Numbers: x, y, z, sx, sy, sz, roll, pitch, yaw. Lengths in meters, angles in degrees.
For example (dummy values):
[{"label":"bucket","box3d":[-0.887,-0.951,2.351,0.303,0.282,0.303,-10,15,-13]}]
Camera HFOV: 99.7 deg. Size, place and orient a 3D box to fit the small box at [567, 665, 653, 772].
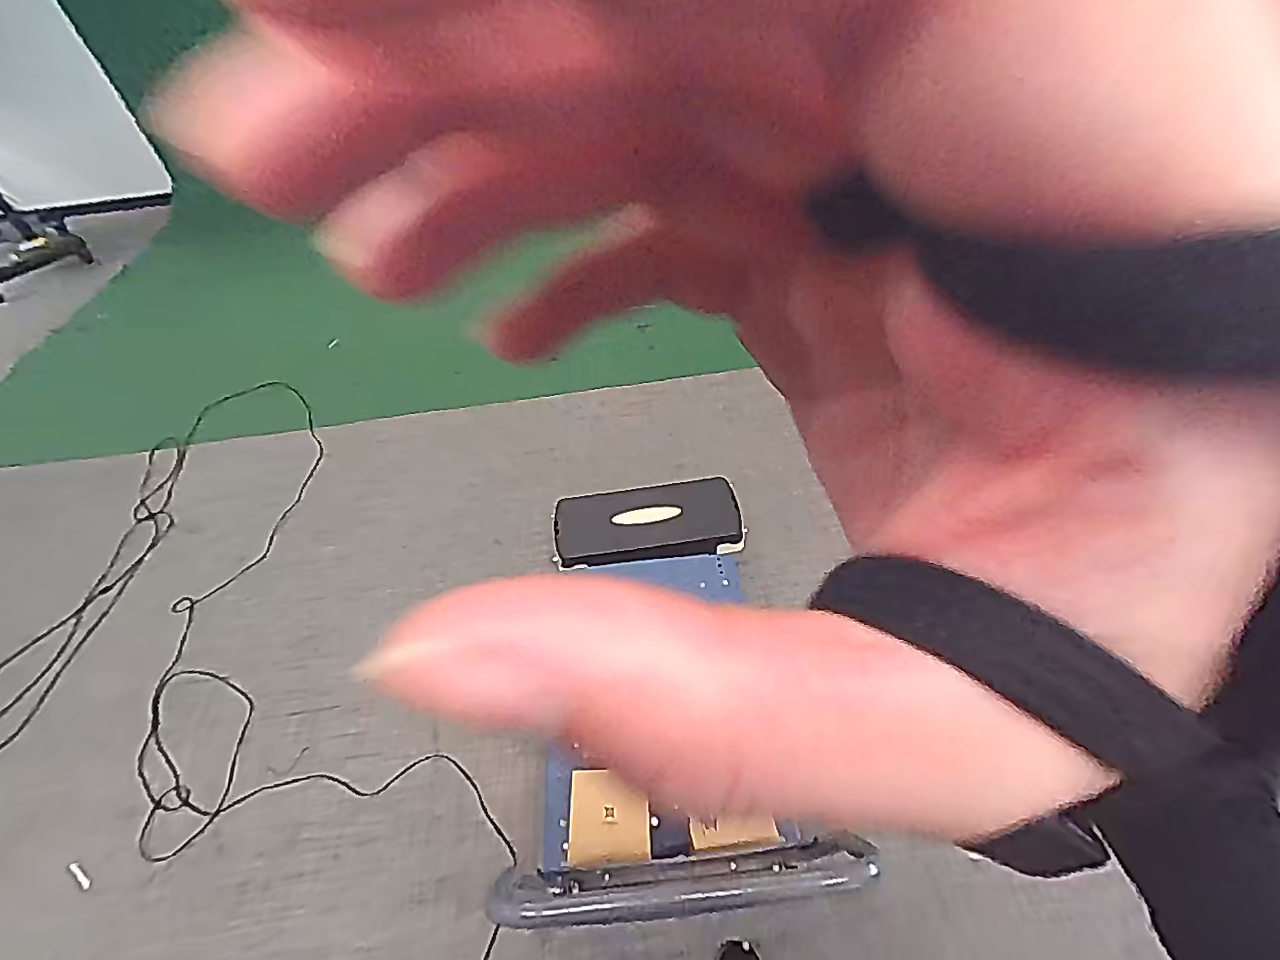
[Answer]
[{"label":"small box","box3d":[-0.070,0.583,1.308,0.168,0.176,0.179,-14,50,-10]}]
